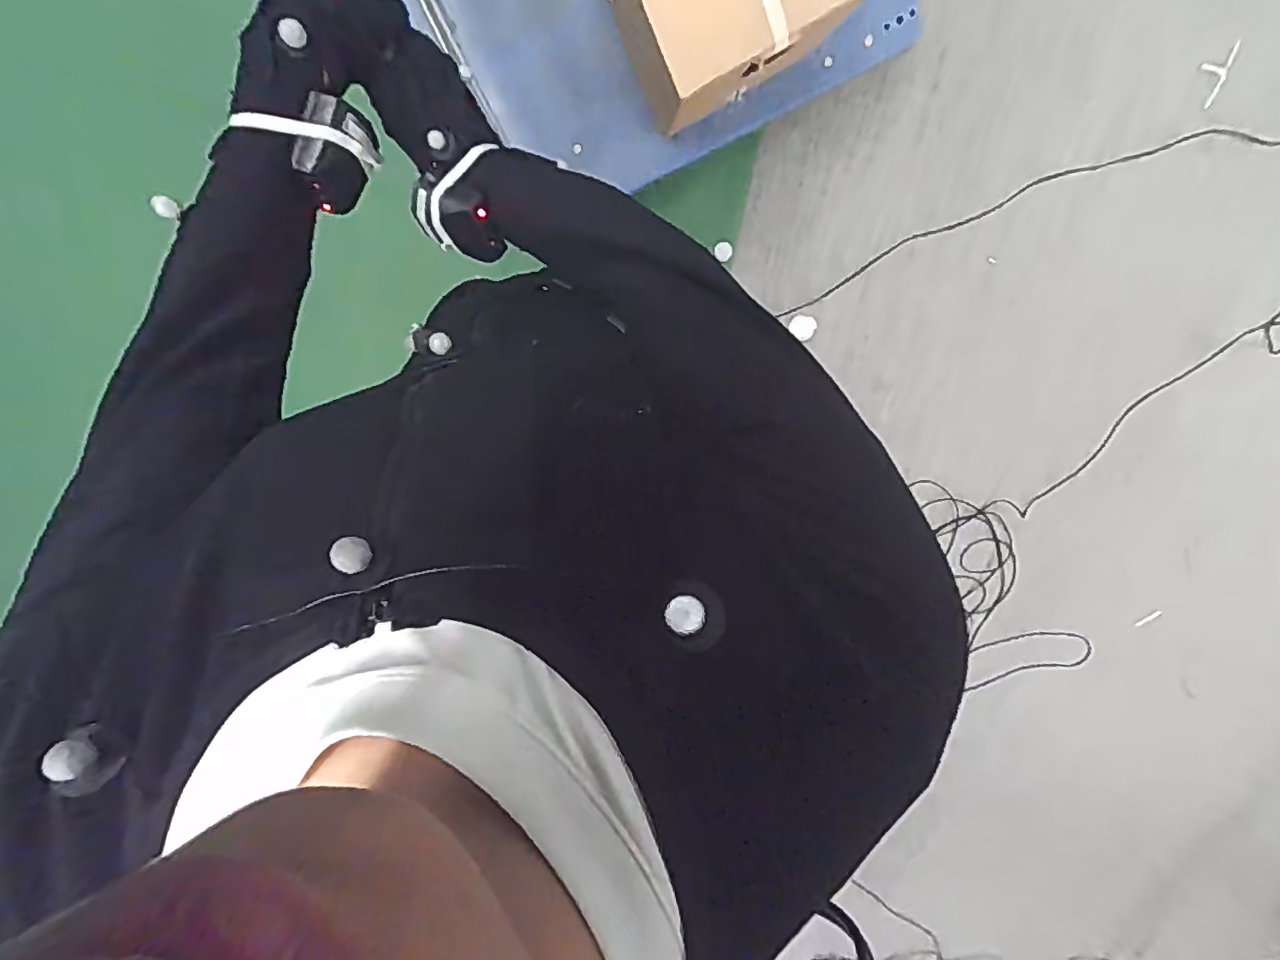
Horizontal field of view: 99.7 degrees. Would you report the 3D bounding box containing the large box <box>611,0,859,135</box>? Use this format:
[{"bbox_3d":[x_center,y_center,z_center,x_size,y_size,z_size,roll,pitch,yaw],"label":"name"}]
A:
[{"bbox_3d":[0.105,-0.841,0.833,0.320,0.320,0.408,-26,111,8],"label":"large box"}]
